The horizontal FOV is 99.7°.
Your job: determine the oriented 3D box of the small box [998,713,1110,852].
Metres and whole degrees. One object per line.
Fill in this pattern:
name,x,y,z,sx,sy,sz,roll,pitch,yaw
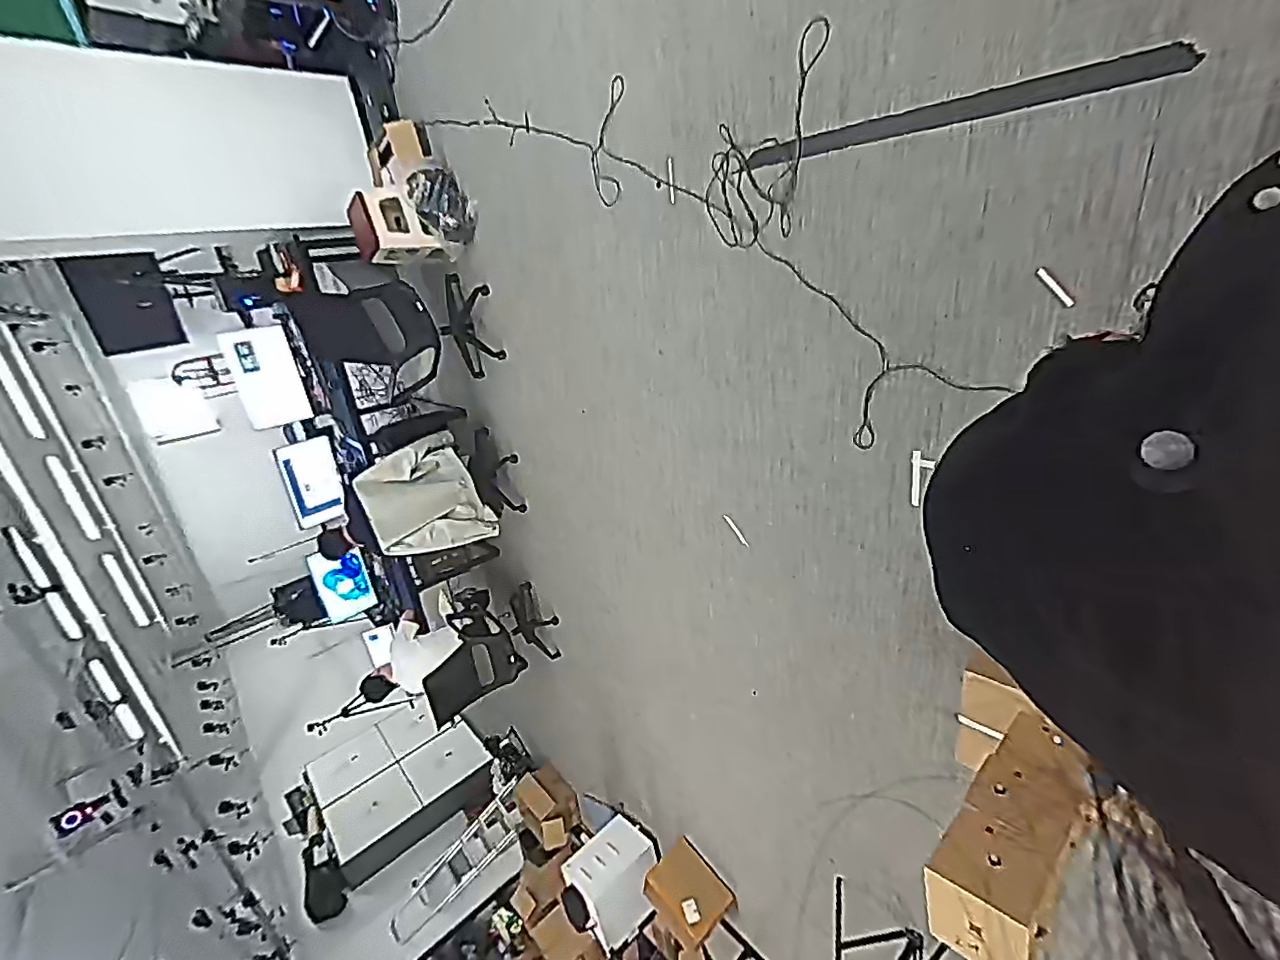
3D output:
small box,0.902,0.660,1.189,0.168,0.176,0.179,14,119,47

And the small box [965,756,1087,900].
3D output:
small box,0.778,0.708,1.095,0.168,0.176,0.179,13,120,49

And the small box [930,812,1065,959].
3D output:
small box,0.659,0.767,0.997,0.168,0.176,0.179,7,115,51
